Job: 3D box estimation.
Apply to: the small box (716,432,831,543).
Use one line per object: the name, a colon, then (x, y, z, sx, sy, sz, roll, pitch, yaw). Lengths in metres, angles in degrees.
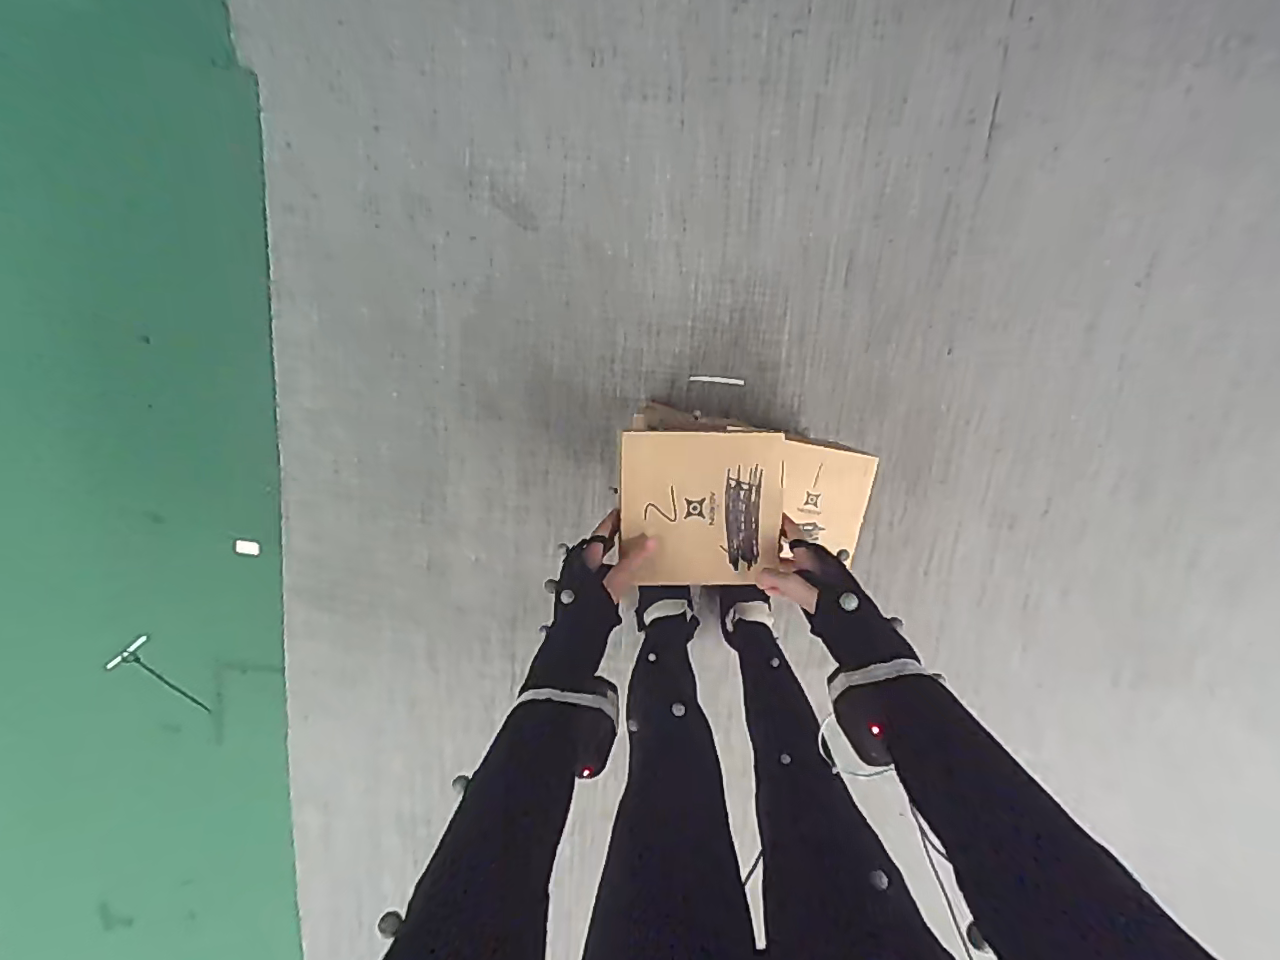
small box: (0.244, 0.007, 1.030, 0.168, 0.176, 0.179, 5, 101, -1)
